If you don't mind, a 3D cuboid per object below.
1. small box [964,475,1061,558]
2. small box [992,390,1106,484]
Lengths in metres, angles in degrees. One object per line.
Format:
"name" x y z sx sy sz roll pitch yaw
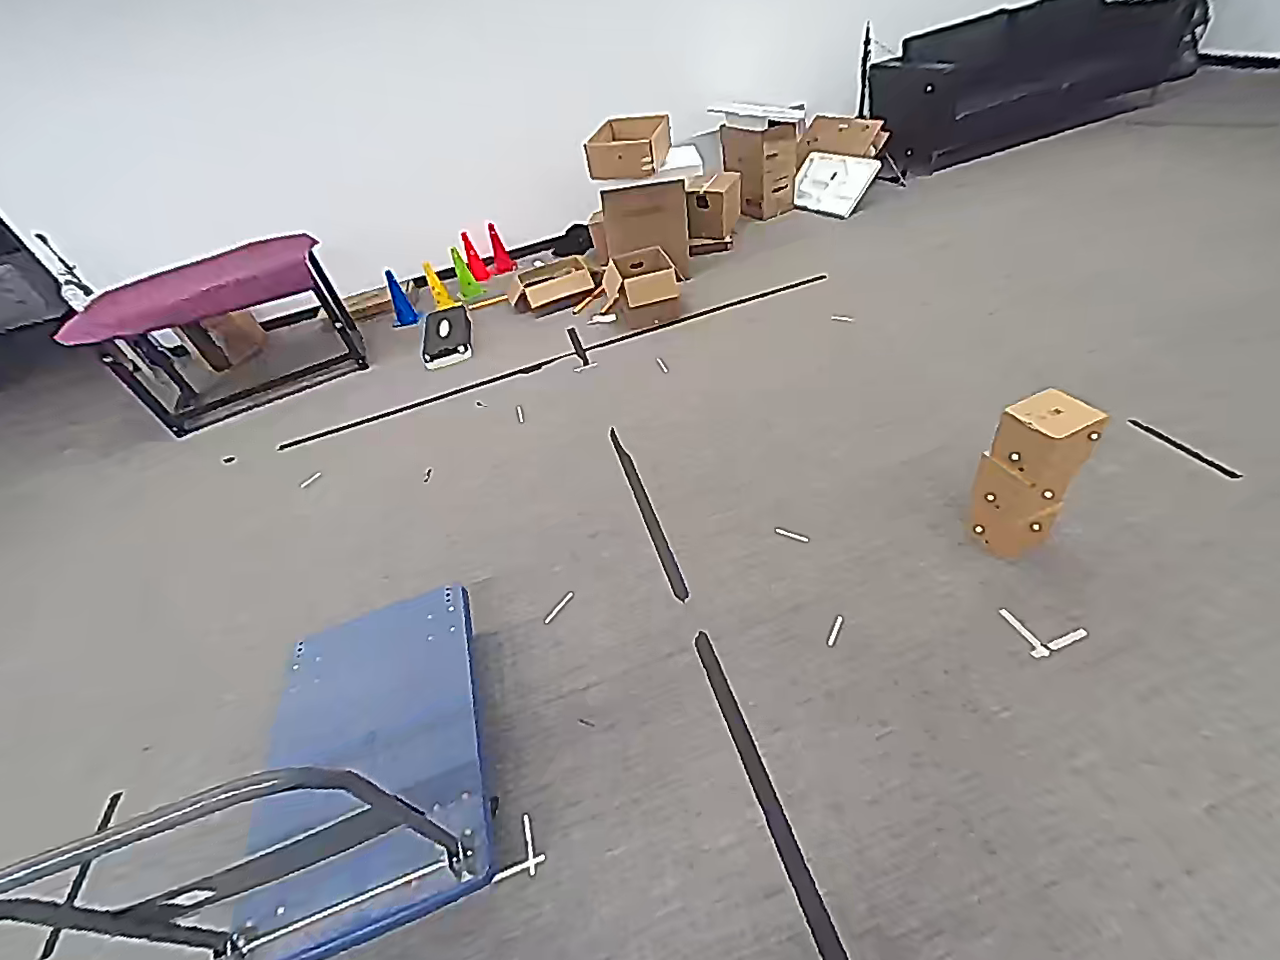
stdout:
"small box" 1.184 0.119 1.734 0.179 0.176 0.168 -20 42 -7
"small box" 1.132 -0.120 1.514 0.179 0.176 0.168 -23 42 -9
